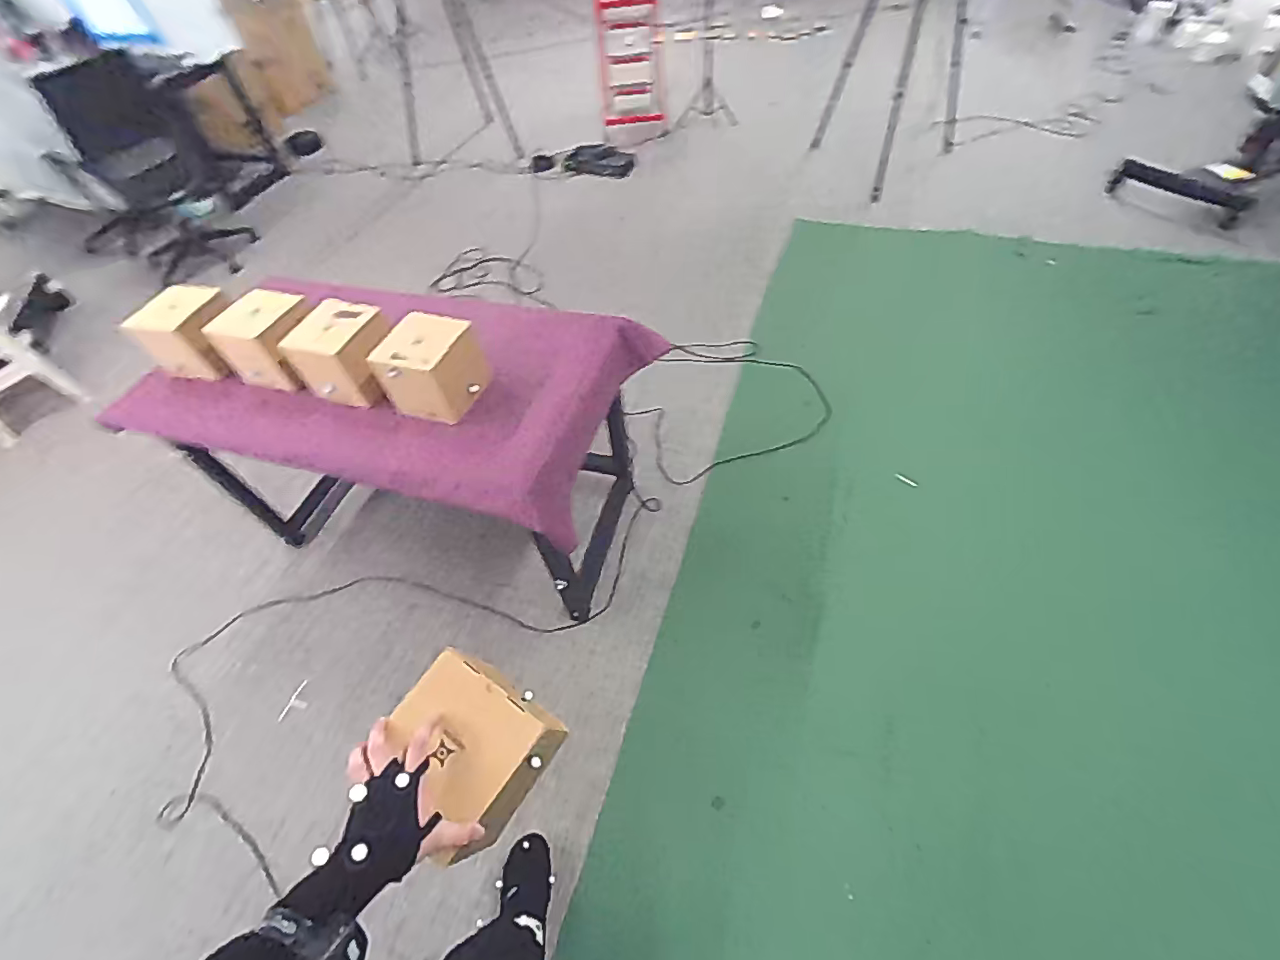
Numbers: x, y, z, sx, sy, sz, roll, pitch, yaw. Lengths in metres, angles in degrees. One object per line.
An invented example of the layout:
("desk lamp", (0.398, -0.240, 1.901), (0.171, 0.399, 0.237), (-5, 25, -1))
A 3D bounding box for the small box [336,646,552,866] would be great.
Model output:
("small box", (-0.235, 0.349, 0.701), (0.168, 0.176, 0.179), (29, 67, 17))

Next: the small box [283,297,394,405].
("small box", (-0.704, -0.313, 1.317), (0.168, 0.176, 0.179), (14, 56, 16))

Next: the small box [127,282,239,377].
("small box", (-1.166, -0.398, 1.432), (0.168, 0.176, 0.179), (8, 54, 12))

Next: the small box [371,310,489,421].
("small box", (-0.472, -0.265, 1.255), (0.168, 0.176, 0.179), (13, 55, 16))

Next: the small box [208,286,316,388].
("small box", (-0.924, -0.365, 1.380), (0.168, 0.176, 0.179), (12, 55, 15))
